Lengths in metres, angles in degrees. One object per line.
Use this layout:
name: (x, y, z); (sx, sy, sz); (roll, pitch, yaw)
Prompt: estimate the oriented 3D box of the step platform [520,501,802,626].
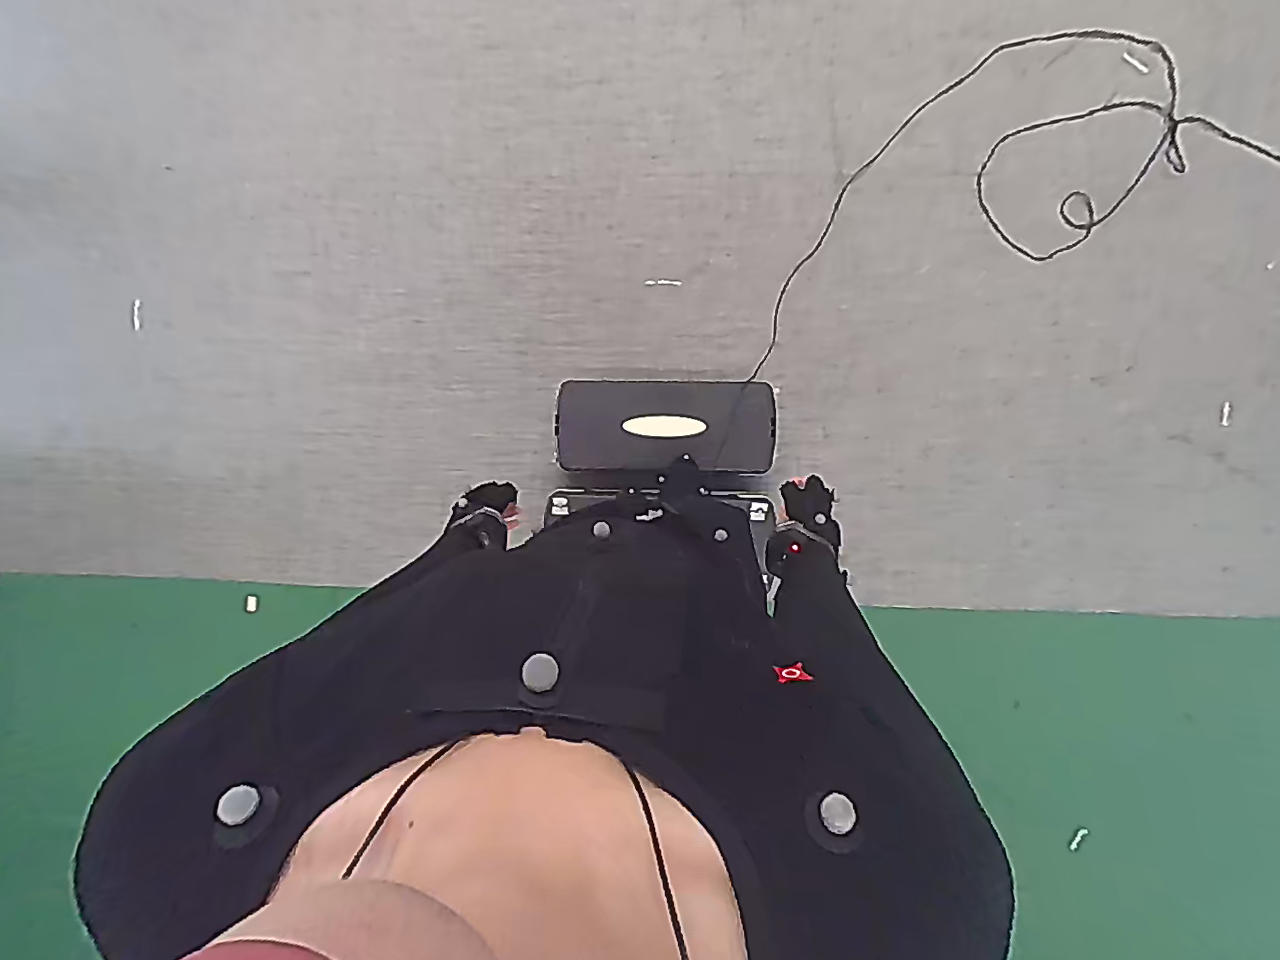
step platform: (0.051, 0.203, 1.395); (0.684, 0.204, 0.286); (1, 90, 2)
